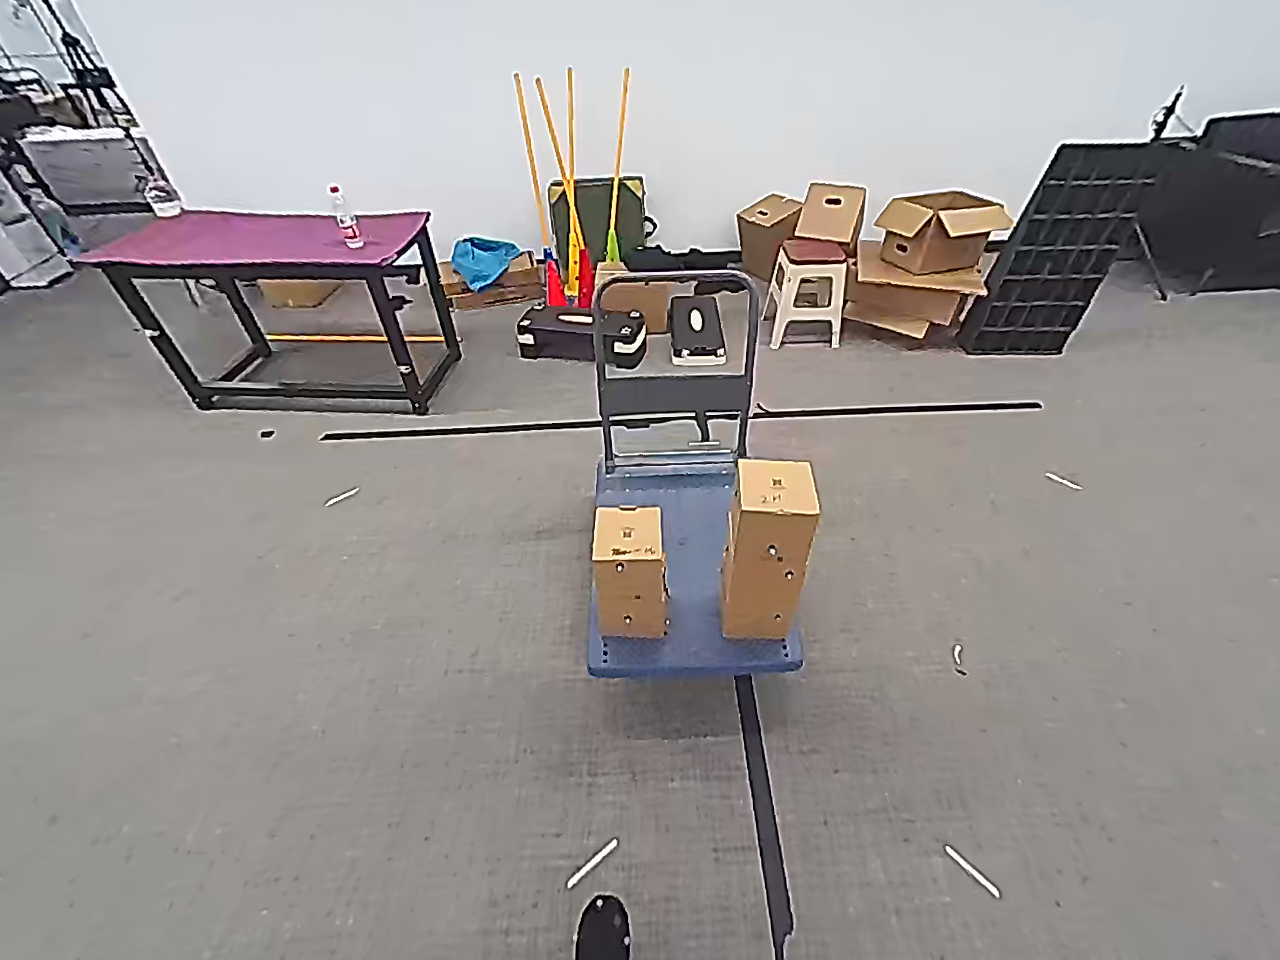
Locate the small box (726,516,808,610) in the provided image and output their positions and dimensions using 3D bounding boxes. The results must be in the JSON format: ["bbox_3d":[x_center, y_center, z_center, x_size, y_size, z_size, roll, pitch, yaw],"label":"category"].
[{"bbox_3d":[0.307,0.208,1.348,0.179,0.176,0.168,3,42,4],"label":"small box"}]

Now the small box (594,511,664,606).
[{"bbox_3d":[-0.024,0.196,1.368,0.168,0.176,0.179,-1,41,2],"label":"small box"}]

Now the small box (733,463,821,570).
[{"bbox_3d":[0.304,0.082,1.241,0.168,0.176,0.179,3,42,5],"label":"small box"}]

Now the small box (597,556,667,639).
[{"bbox_3d":[-0.016,0.320,1.476,0.179,0.176,0.168,1,42,4],"label":"small box"}]
